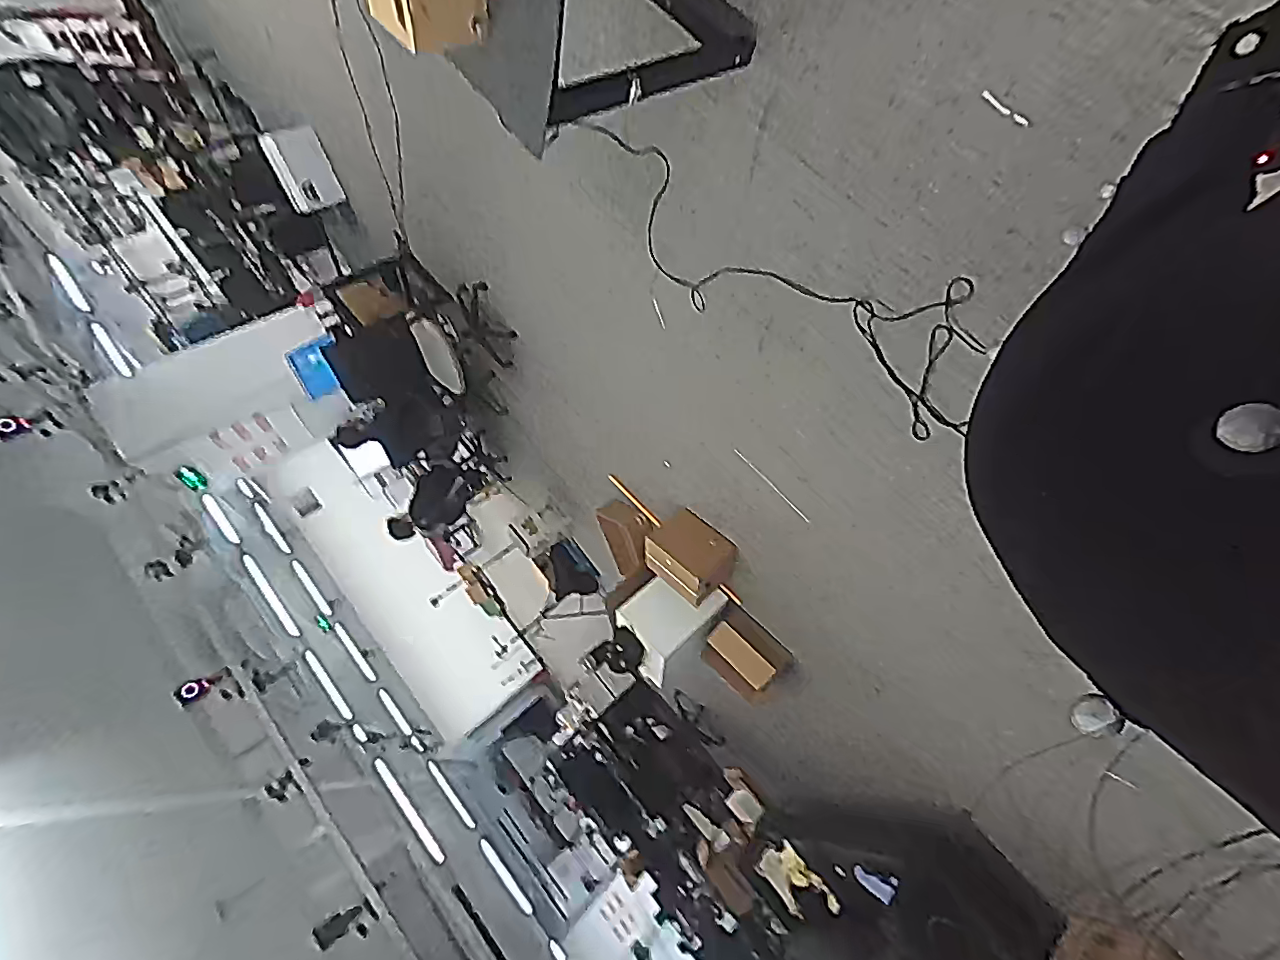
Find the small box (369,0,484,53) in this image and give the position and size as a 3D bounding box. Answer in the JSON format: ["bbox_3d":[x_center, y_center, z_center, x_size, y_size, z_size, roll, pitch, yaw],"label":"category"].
[{"bbox_3d":[-0.412,-0.964,1.028,0.179,0.176,0.168,47,154,15],"label":"small box"}]
